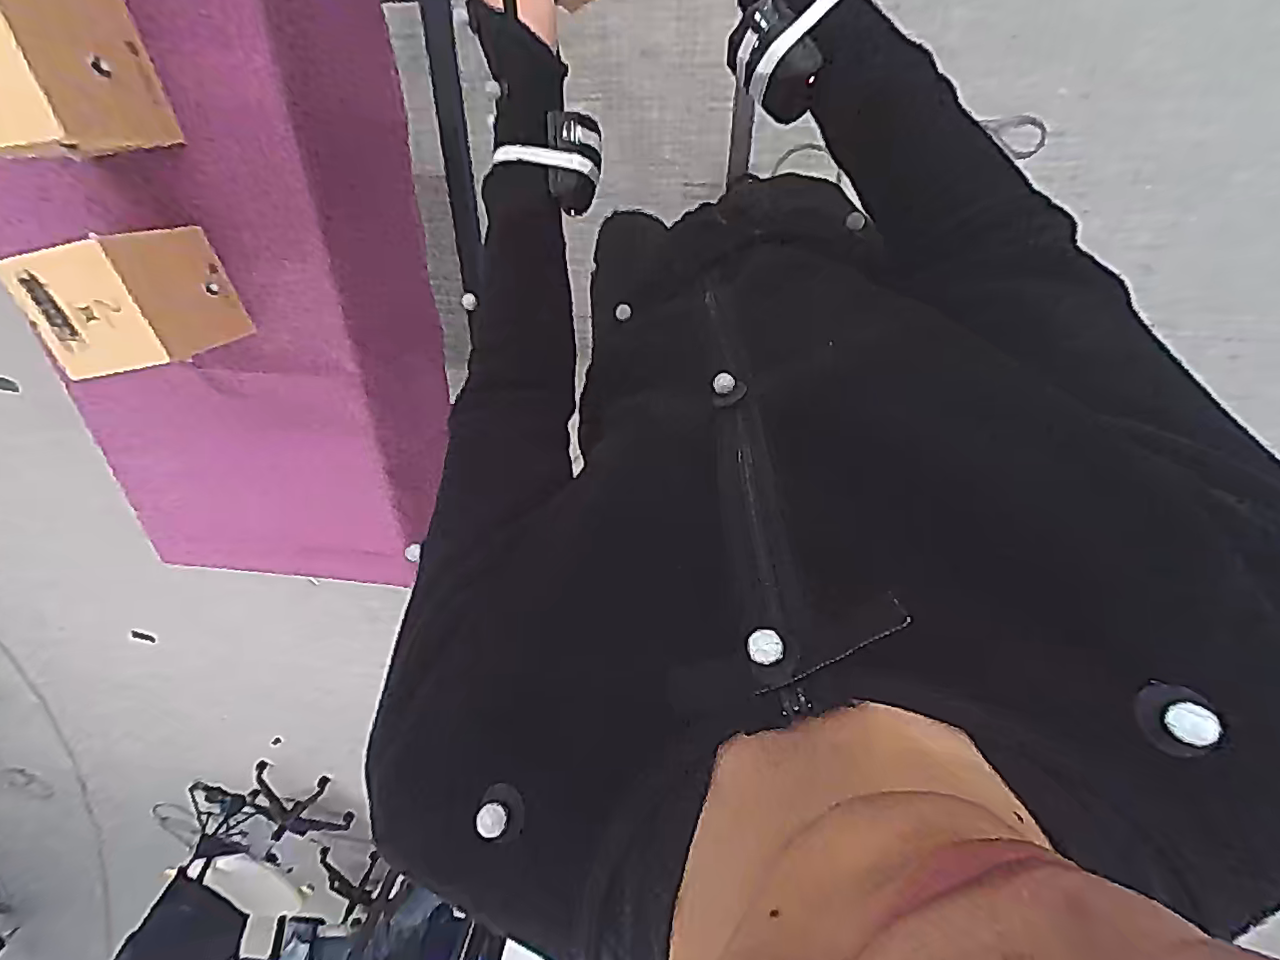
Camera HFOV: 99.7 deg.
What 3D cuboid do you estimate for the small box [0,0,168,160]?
[{"bbox_3d":[-0.742,-0.497,0.664,0.179,0.176,0.168,-1,120,10],"label":"small box"}]
